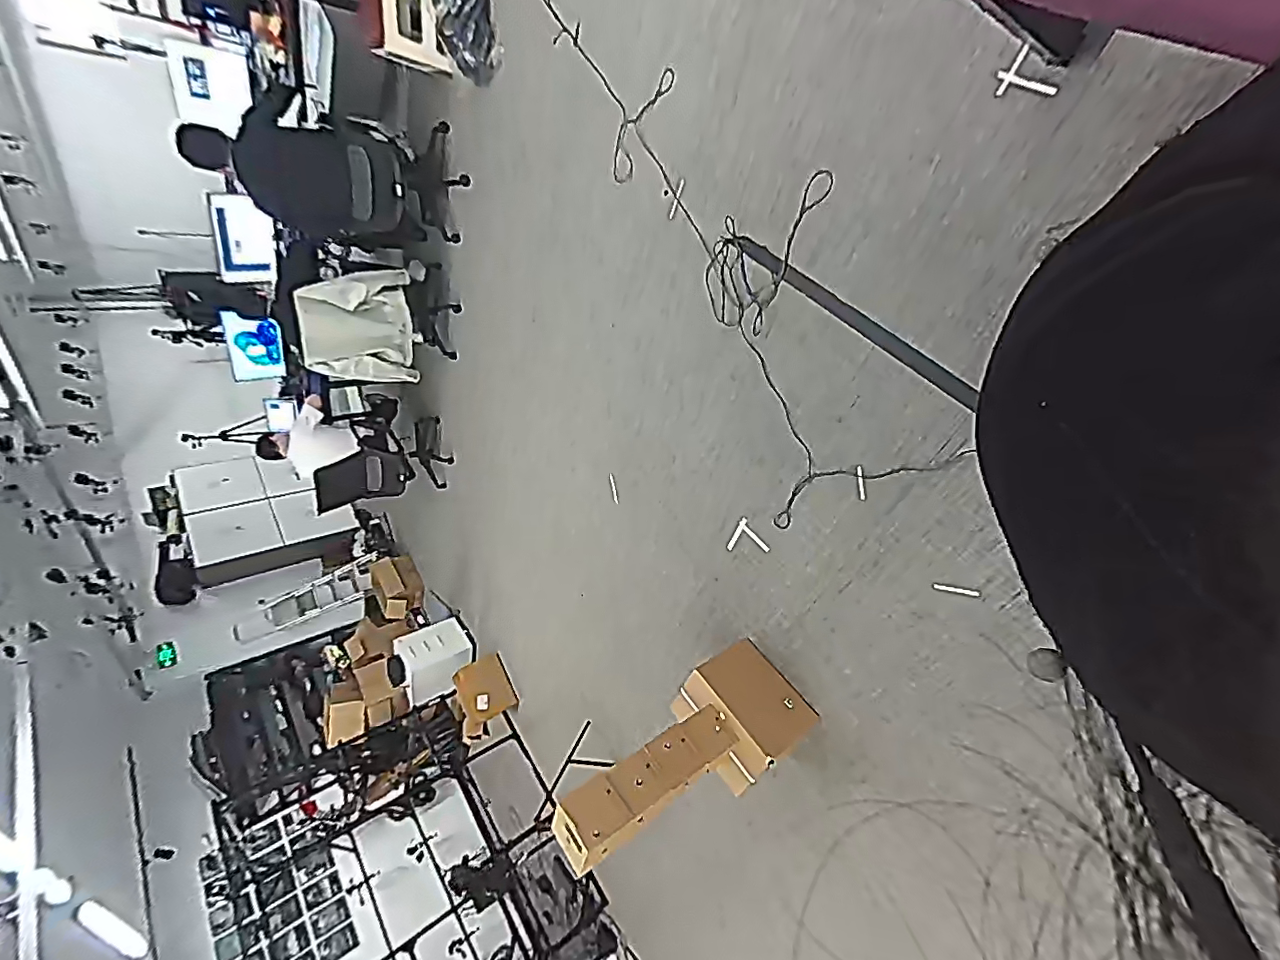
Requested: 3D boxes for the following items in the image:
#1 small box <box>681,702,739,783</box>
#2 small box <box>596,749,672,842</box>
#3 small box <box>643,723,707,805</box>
[{"bbox_3d":[0.231,0.948,1.959,0.168,0.176,0.179,46,134,31],"label":"small box"},{"bbox_3d":[-0.018,1.018,1.759,0.168,0.176,0.179,43,132,36],"label":"small box"},{"bbox_3d":[0.107,0.976,1.860,0.168,0.176,0.179,46,135,33],"label":"small box"}]
